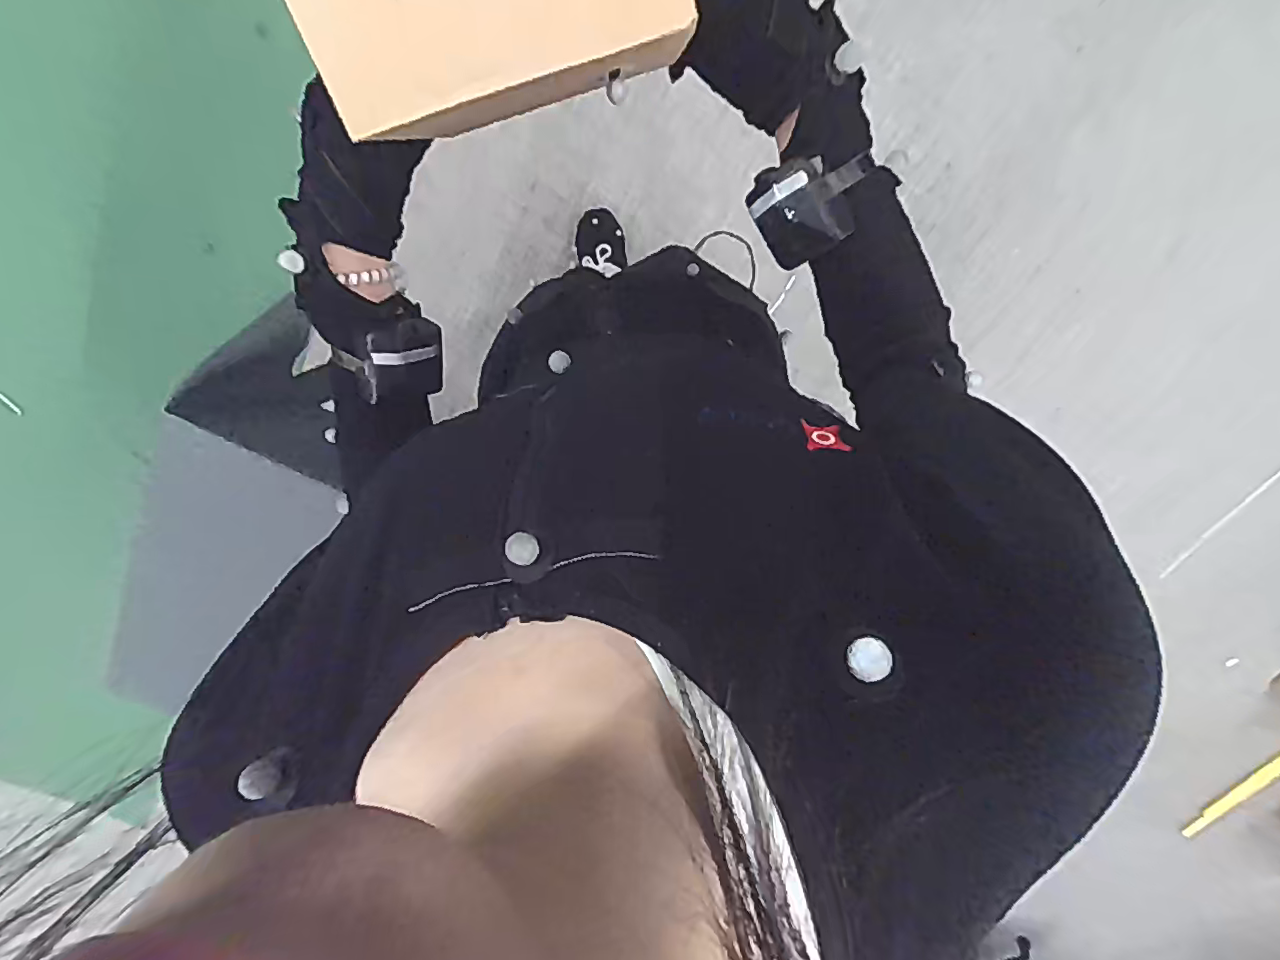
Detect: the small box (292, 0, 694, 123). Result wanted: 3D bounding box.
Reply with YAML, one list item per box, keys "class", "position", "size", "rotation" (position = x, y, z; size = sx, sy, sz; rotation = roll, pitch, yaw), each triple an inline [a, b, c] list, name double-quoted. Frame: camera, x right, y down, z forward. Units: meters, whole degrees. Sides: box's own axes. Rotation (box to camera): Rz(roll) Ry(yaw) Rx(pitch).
- class: "small box"
  position: [-0.080, -0.301, 0.276]
  size: [0.179, 0.176, 0.168]
  rotation: [-12, 121, 7]
